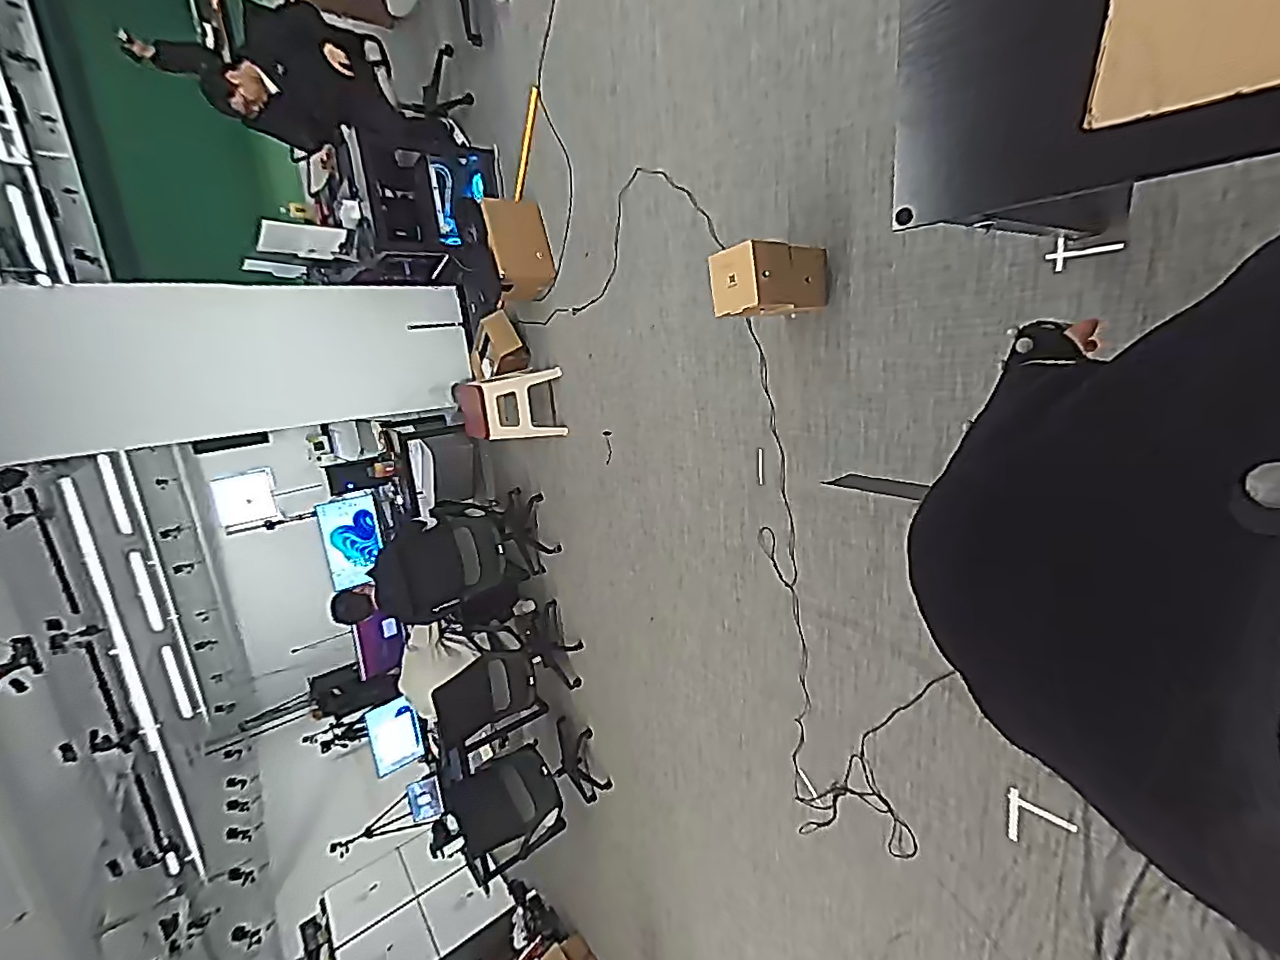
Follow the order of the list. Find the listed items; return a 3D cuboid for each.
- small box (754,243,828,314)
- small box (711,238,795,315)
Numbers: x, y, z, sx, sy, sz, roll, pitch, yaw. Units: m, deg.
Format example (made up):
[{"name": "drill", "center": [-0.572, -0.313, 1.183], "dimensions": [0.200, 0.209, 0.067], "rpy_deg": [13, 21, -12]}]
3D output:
[{"name": "small box", "center": [0.460, -0.614, 1.661], "dimensions": [0.168, 0.176, 0.179], "rpy_deg": [8, 109, 52]}, {"name": "small box", "center": [0.330, -0.586, 1.566], "dimensions": [0.168, 0.176, 0.179], "rpy_deg": [3, 104, 53]}]
